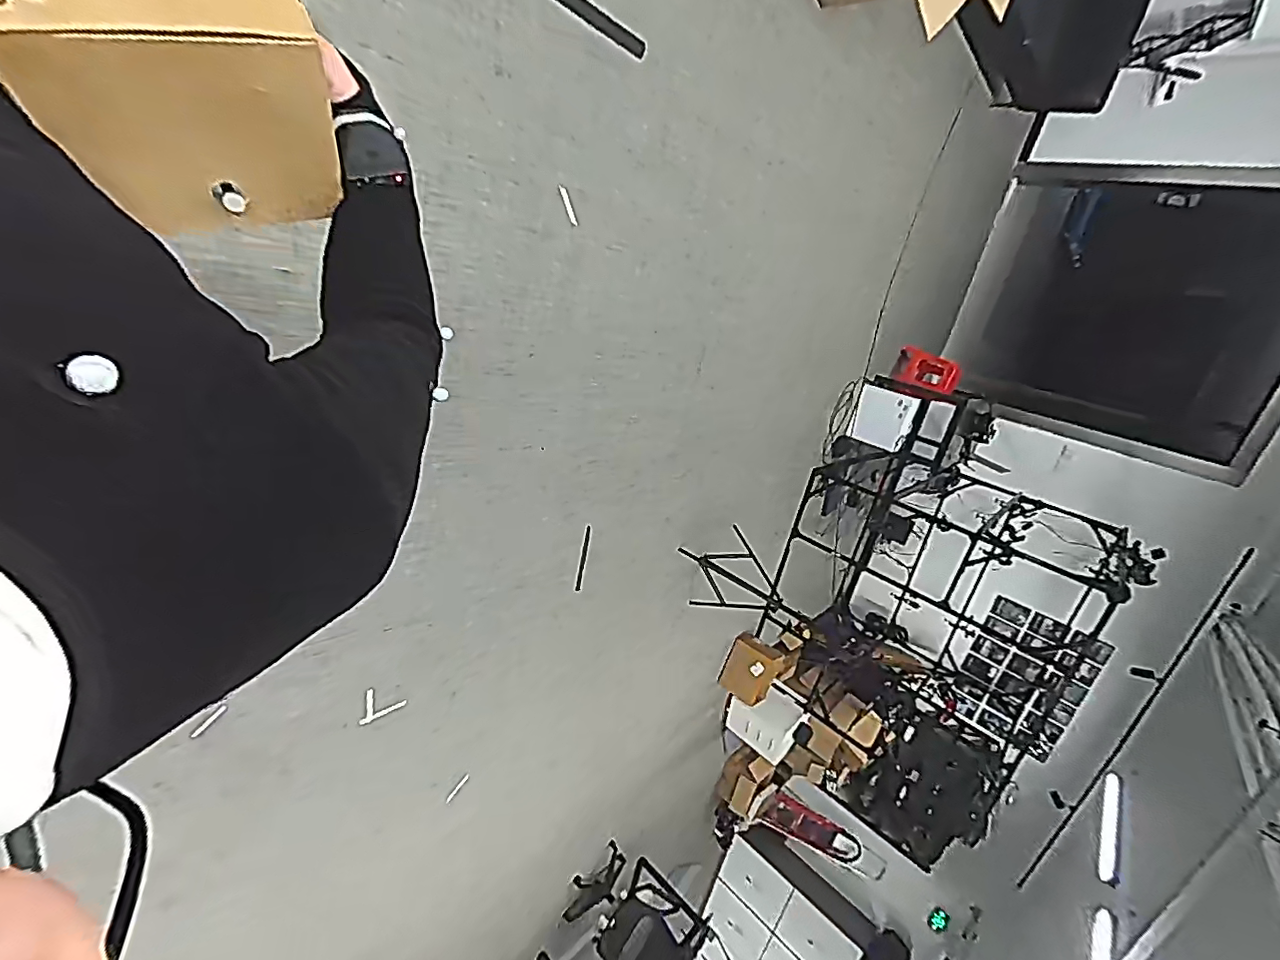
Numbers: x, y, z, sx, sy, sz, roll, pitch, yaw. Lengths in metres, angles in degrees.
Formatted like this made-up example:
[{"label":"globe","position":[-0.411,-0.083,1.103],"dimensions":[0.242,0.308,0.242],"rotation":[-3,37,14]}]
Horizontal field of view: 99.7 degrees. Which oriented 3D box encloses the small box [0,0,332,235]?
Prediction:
[{"label":"small box","position":[-0.361,-0.322,0.423],"dimensions":[0.179,0.168,0.176],"rotation":[-22,172,-27]}]
